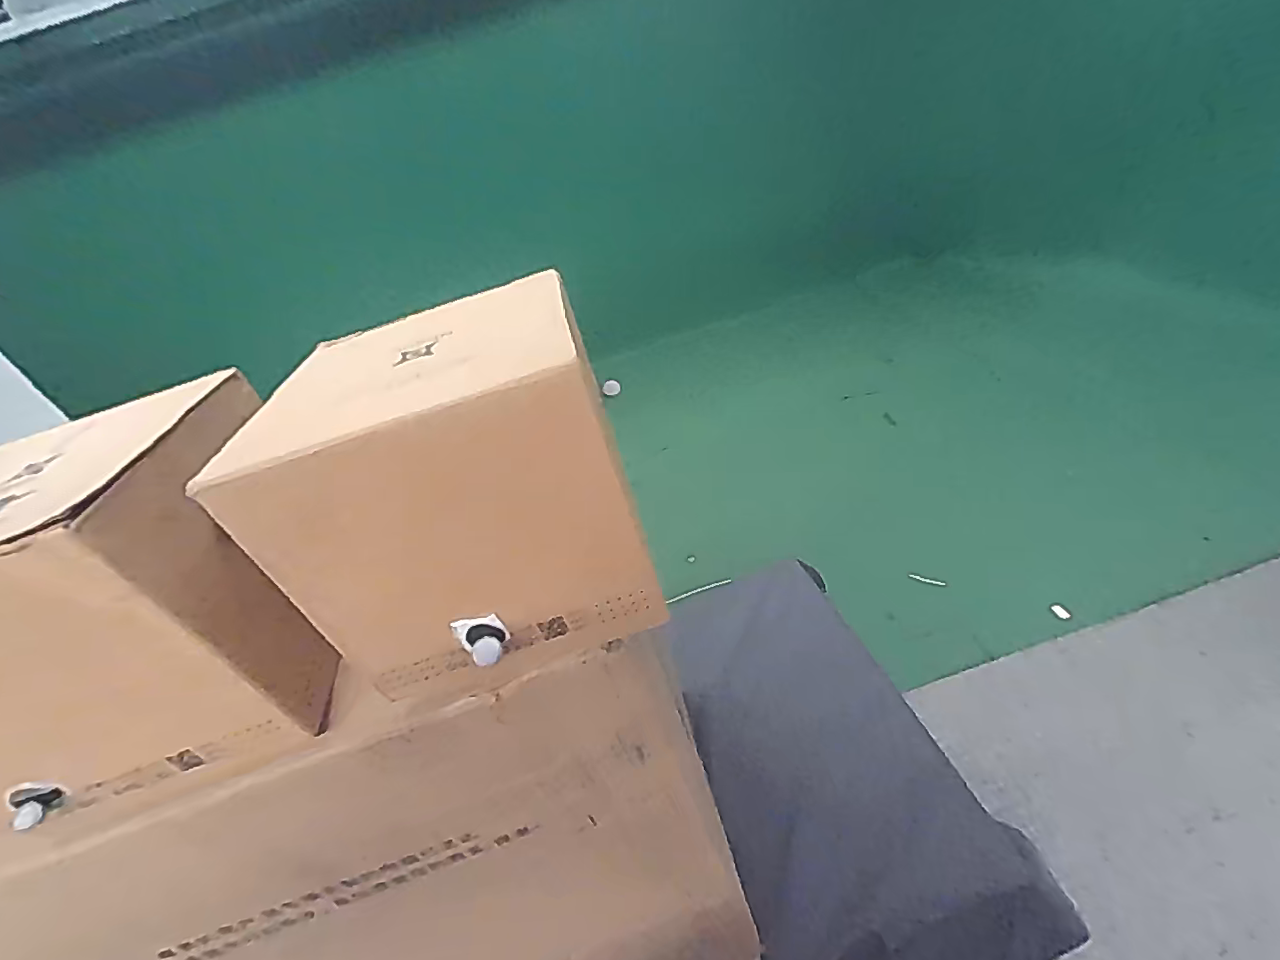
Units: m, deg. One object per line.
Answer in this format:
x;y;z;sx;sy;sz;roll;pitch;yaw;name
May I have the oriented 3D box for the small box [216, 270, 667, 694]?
-0.093;-0.006;0.336;0.168;0.176;0.179;-19;36;-1;small box
